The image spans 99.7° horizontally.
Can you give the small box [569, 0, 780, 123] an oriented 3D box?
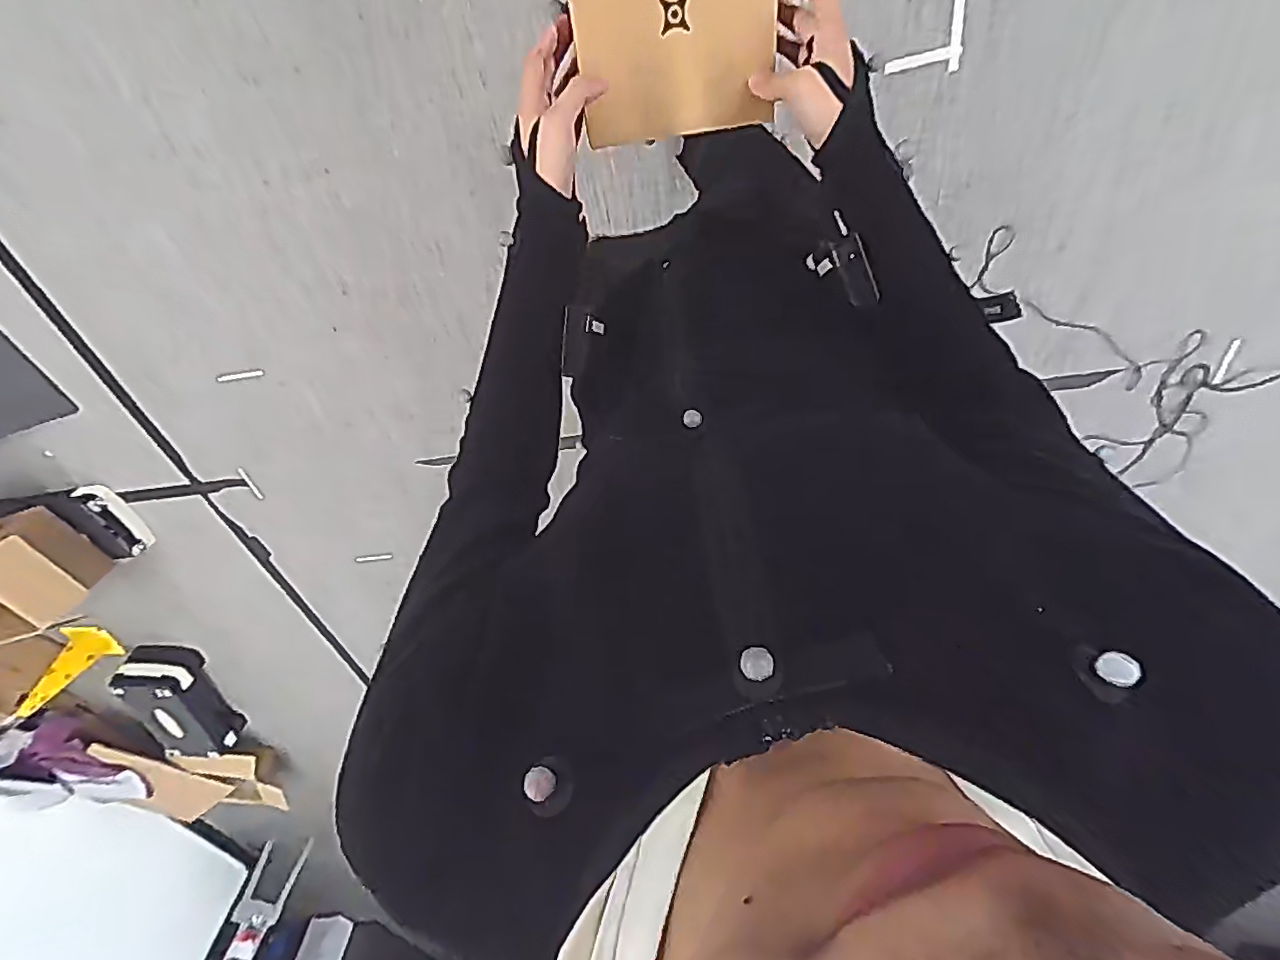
[{"bbox_3d":[0.020,-0.432,0.467,0.168,0.176,0.179,-9,130,0],"label":"small box"}]
